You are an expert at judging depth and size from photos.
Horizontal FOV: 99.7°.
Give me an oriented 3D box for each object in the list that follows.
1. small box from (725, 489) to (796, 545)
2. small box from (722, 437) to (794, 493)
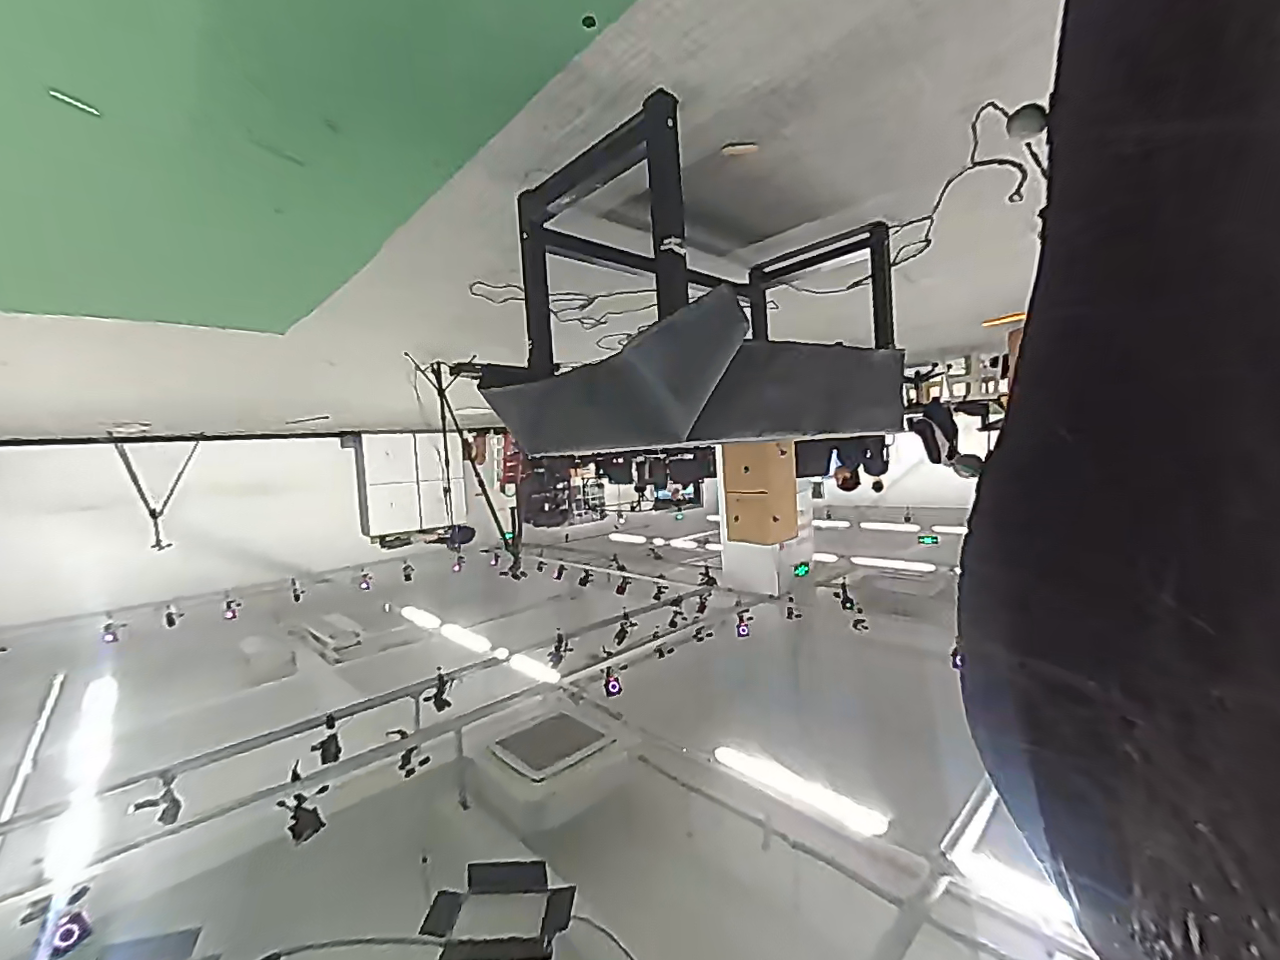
[{"bbox_3d":[0.390,0.112,1.766,0.179,0.176,0.168,-6,-175,-42],"label":"small box"},{"bbox_3d":[0.381,-0.050,1.754,0.168,0.176,0.179,-6,-177,-44],"label":"small box"}]
